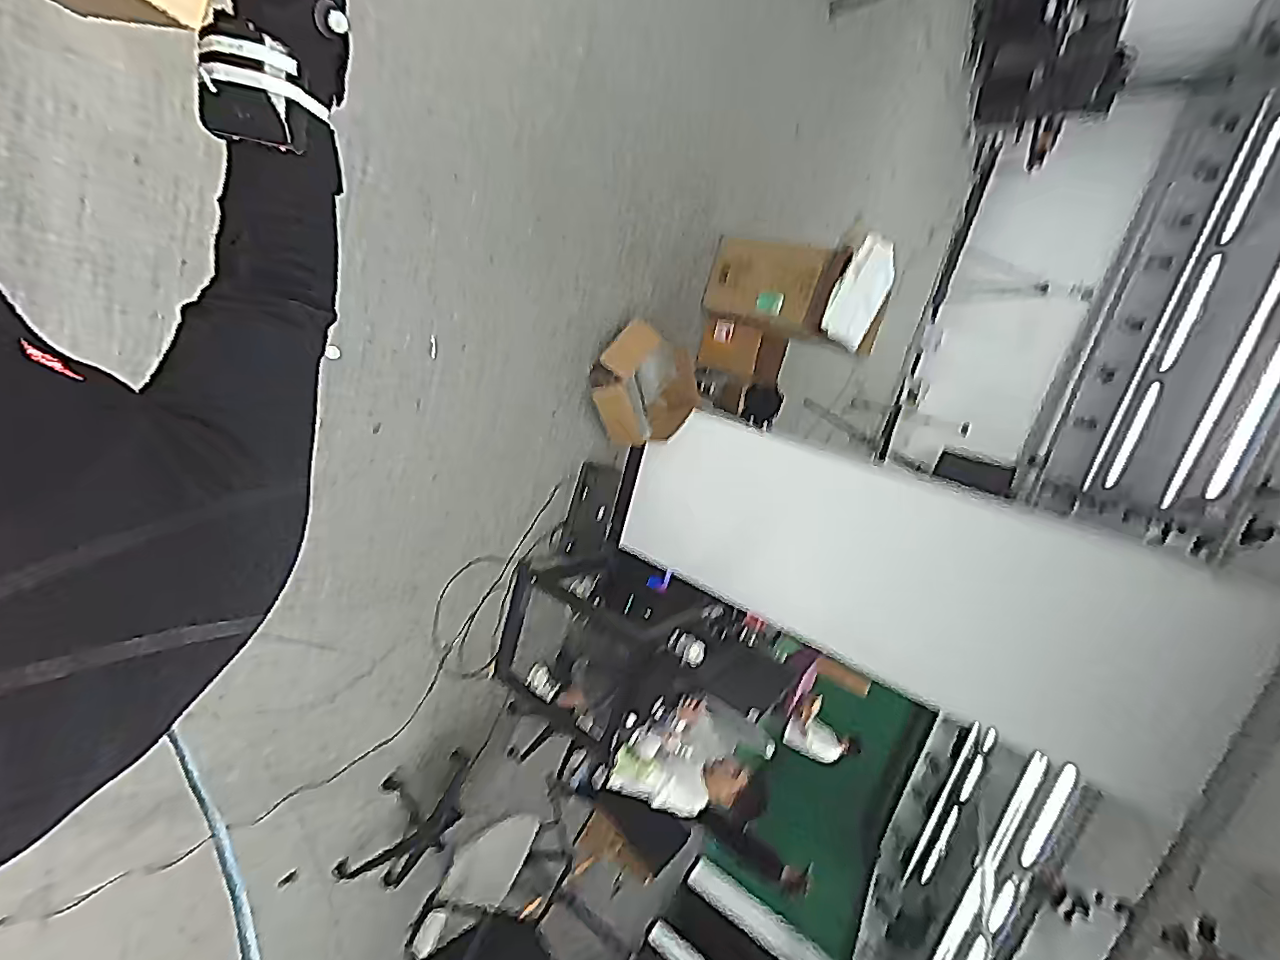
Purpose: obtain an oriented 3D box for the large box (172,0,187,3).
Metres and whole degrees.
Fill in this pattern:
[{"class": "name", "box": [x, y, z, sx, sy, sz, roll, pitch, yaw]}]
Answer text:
[{"class": "large box", "box": [-0.442, -0.513, 0.219, 0.408, 0.320, 0.320, 6, 113, -59]}]
